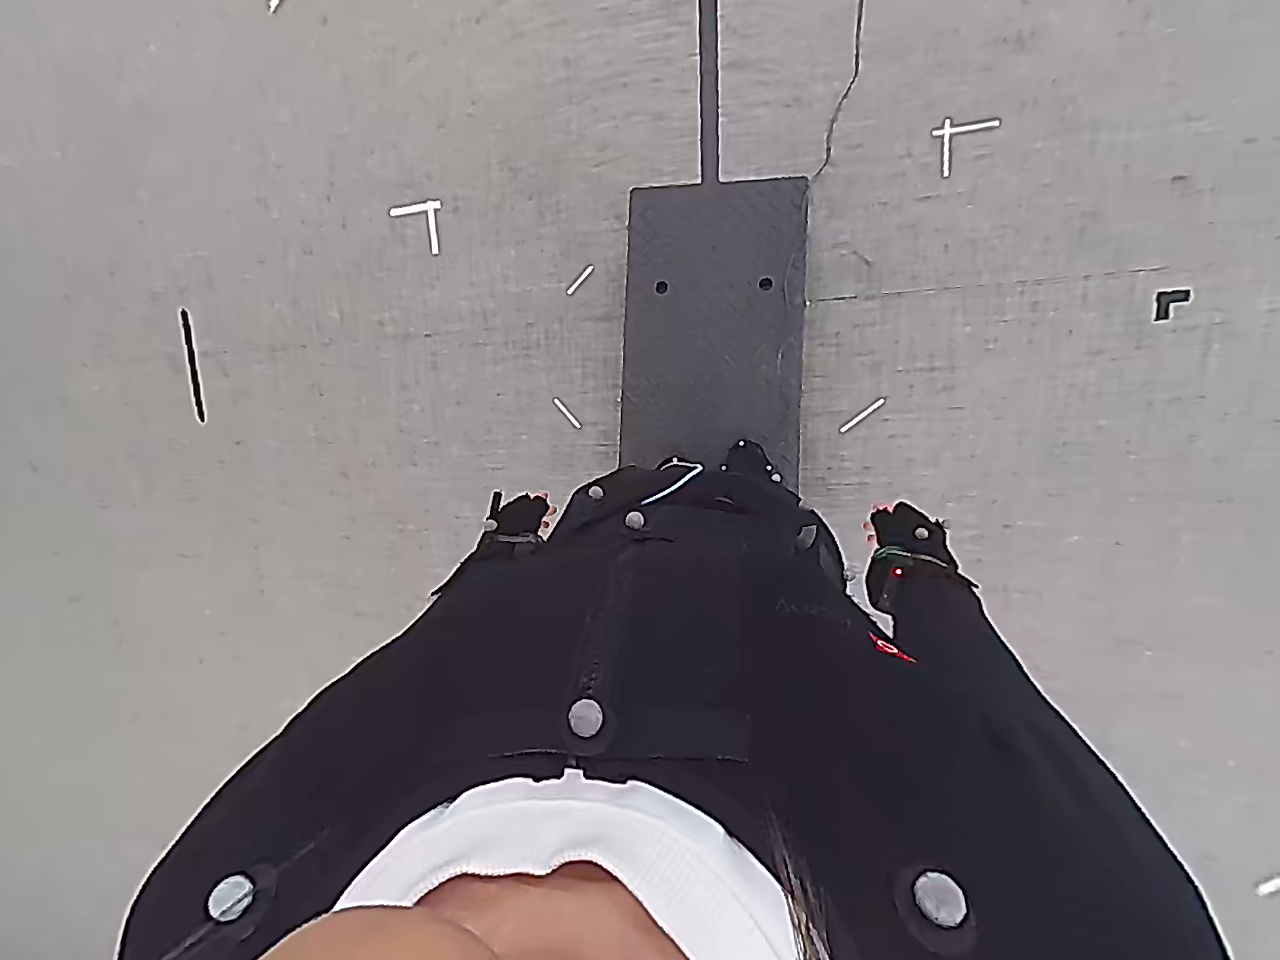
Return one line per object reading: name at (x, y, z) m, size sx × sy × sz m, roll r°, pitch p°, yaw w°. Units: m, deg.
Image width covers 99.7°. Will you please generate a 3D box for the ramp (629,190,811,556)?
ramp at (0.214, -0.296, 1.494) m, size 0.509 × 0.206 × 0.991 m, roll -1°, pitch 96°, yaw 13°
